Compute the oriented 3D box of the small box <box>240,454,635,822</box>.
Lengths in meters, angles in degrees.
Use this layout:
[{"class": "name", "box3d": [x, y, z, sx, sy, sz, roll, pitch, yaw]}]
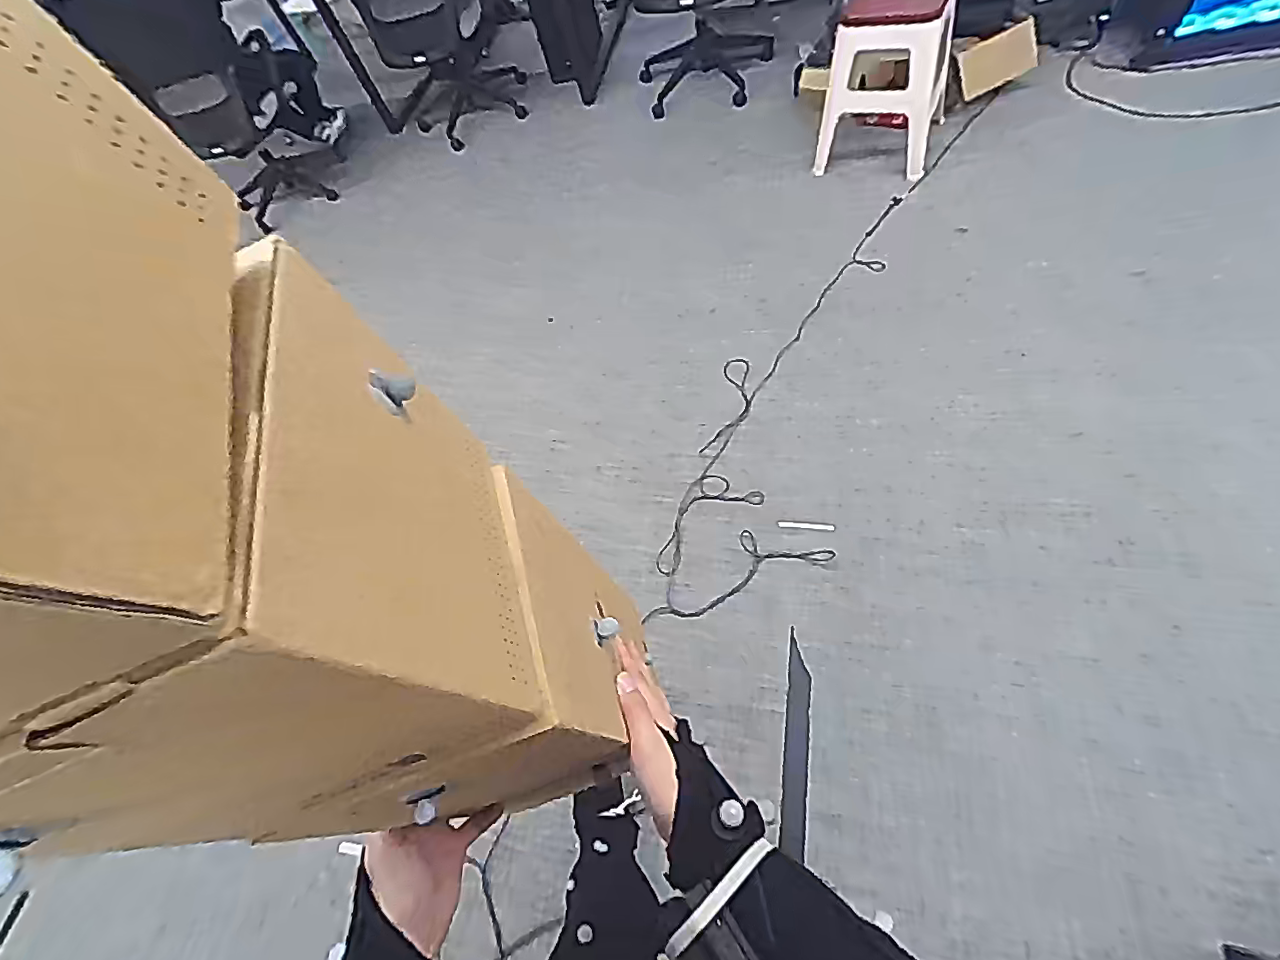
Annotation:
[{"class": "small box", "box3d": [-0.122, 0.117, 0.375, 0.179, 0.176, 0.168, -22, 58, 3]}]
